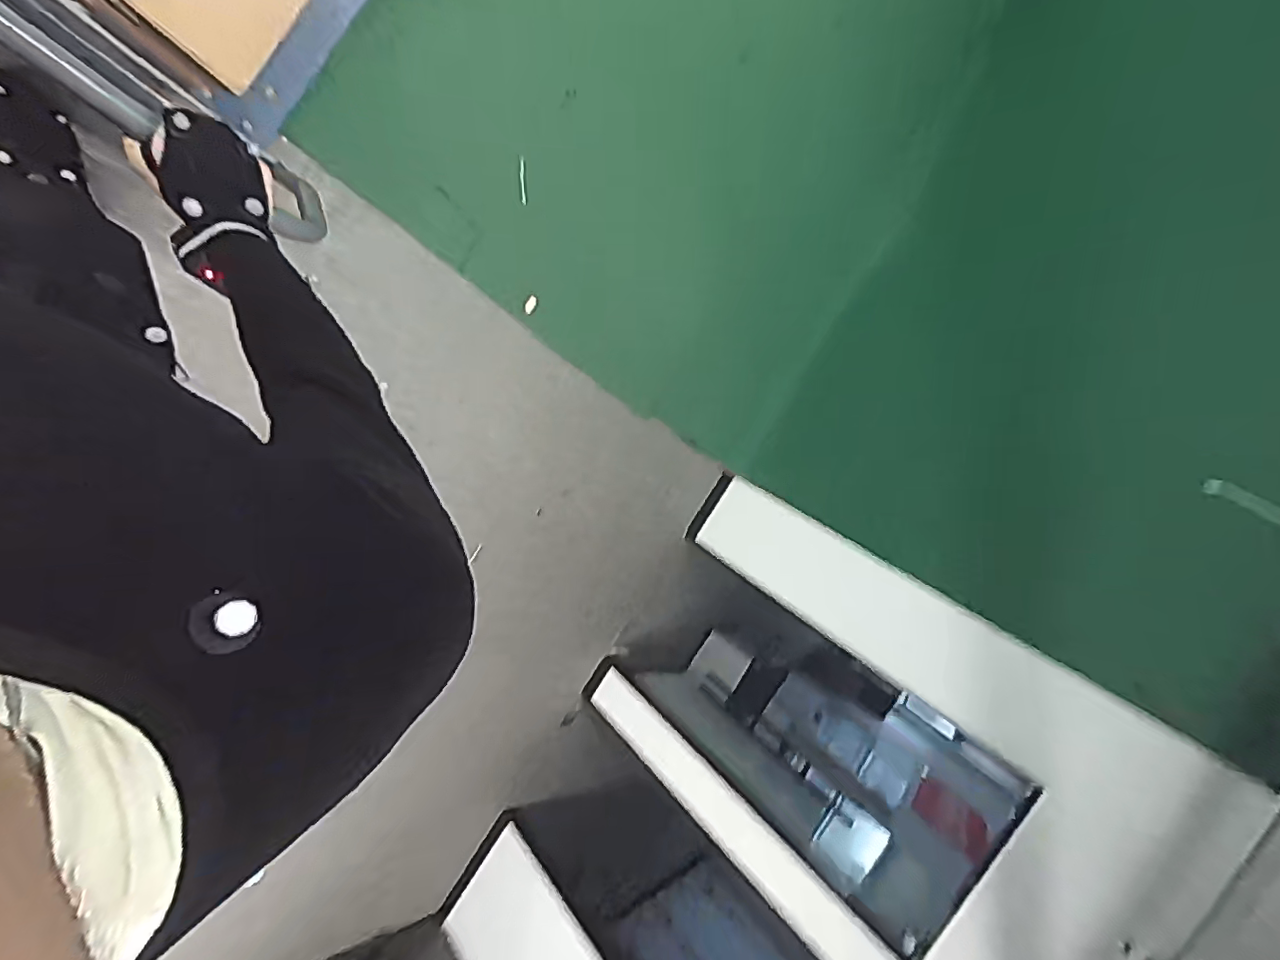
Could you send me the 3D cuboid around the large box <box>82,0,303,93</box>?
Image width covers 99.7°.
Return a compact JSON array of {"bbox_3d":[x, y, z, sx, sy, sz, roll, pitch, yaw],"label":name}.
[{"bbox_3d":[-0.671,-0.855,0.778,0.408,0.320,0.320,-56,144,0],"label":"large box"}]
